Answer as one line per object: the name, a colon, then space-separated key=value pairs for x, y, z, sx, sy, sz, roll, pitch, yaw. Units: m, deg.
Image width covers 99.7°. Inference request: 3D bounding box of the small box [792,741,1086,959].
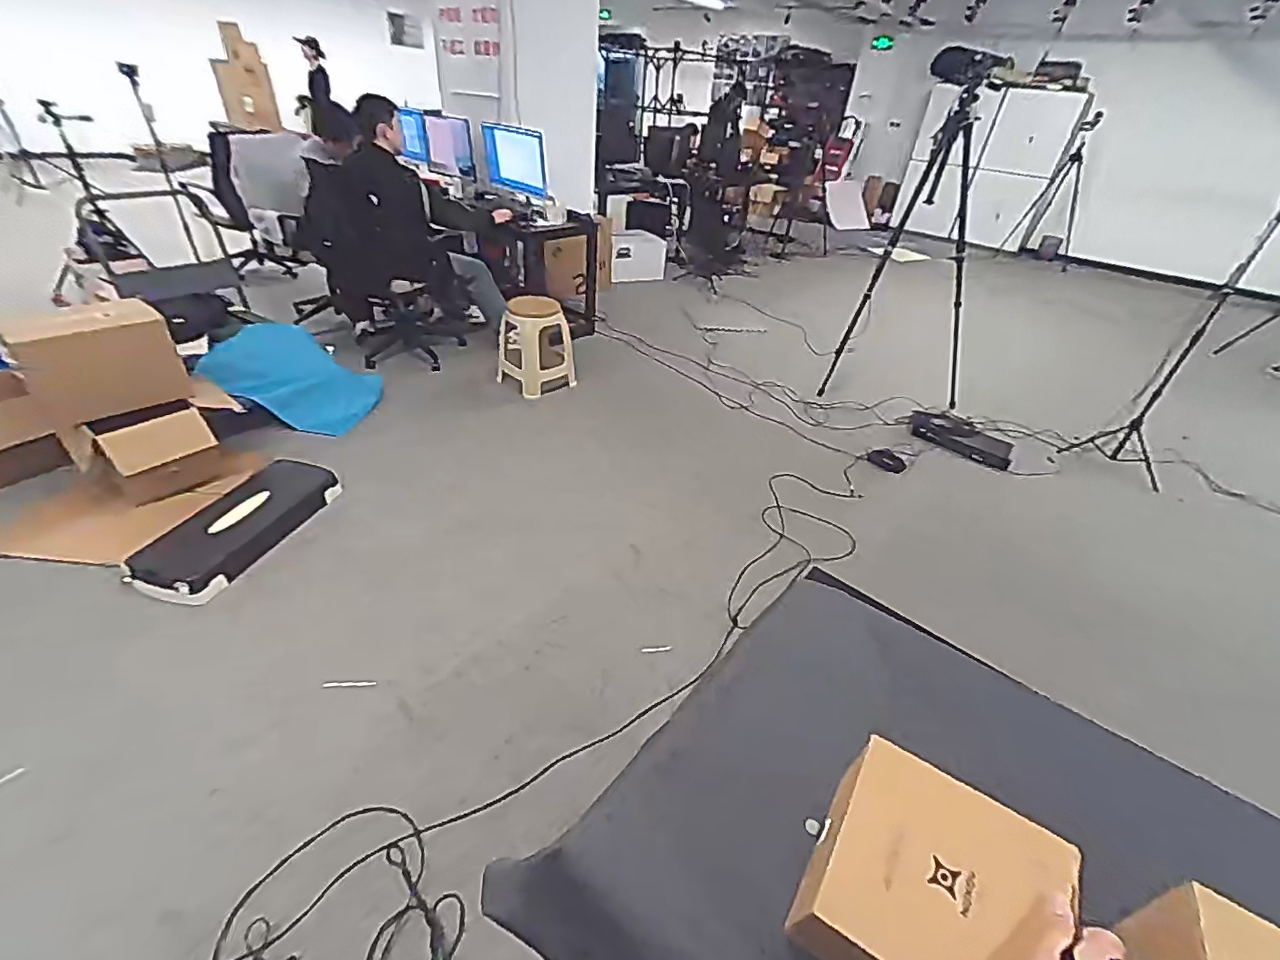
small box: x=0.259 y=0.385 z=0.495 sx=0.179 sy=0.176 sz=0.168 roll=22 pitch=50 yaw=25
